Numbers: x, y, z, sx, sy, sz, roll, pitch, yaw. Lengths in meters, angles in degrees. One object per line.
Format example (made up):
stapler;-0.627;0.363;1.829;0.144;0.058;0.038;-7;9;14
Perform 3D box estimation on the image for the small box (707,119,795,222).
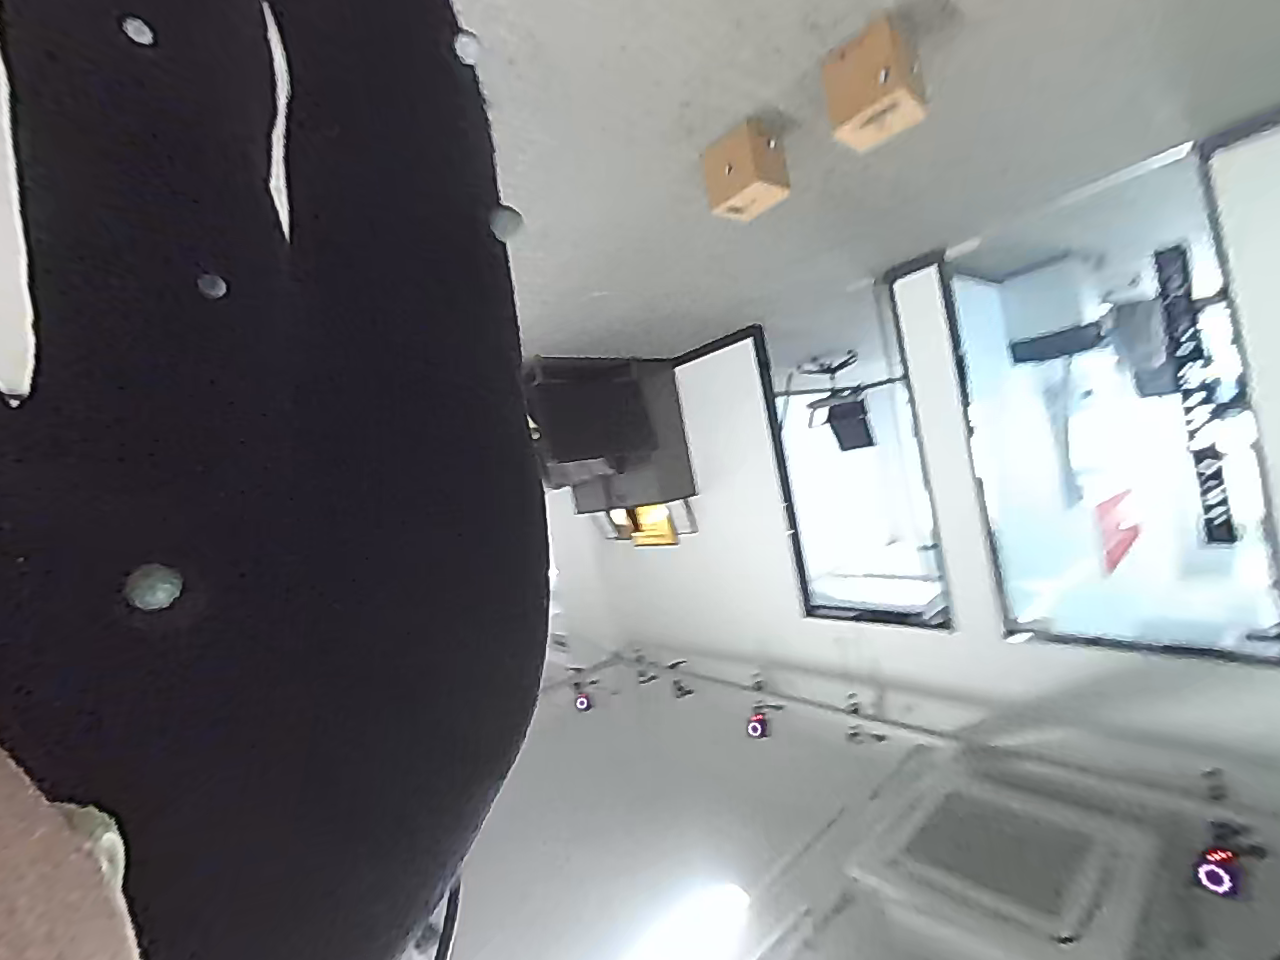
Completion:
small box;0.305;-0.858;1.512;0.168;0.176;0.179;-11;180;-39
